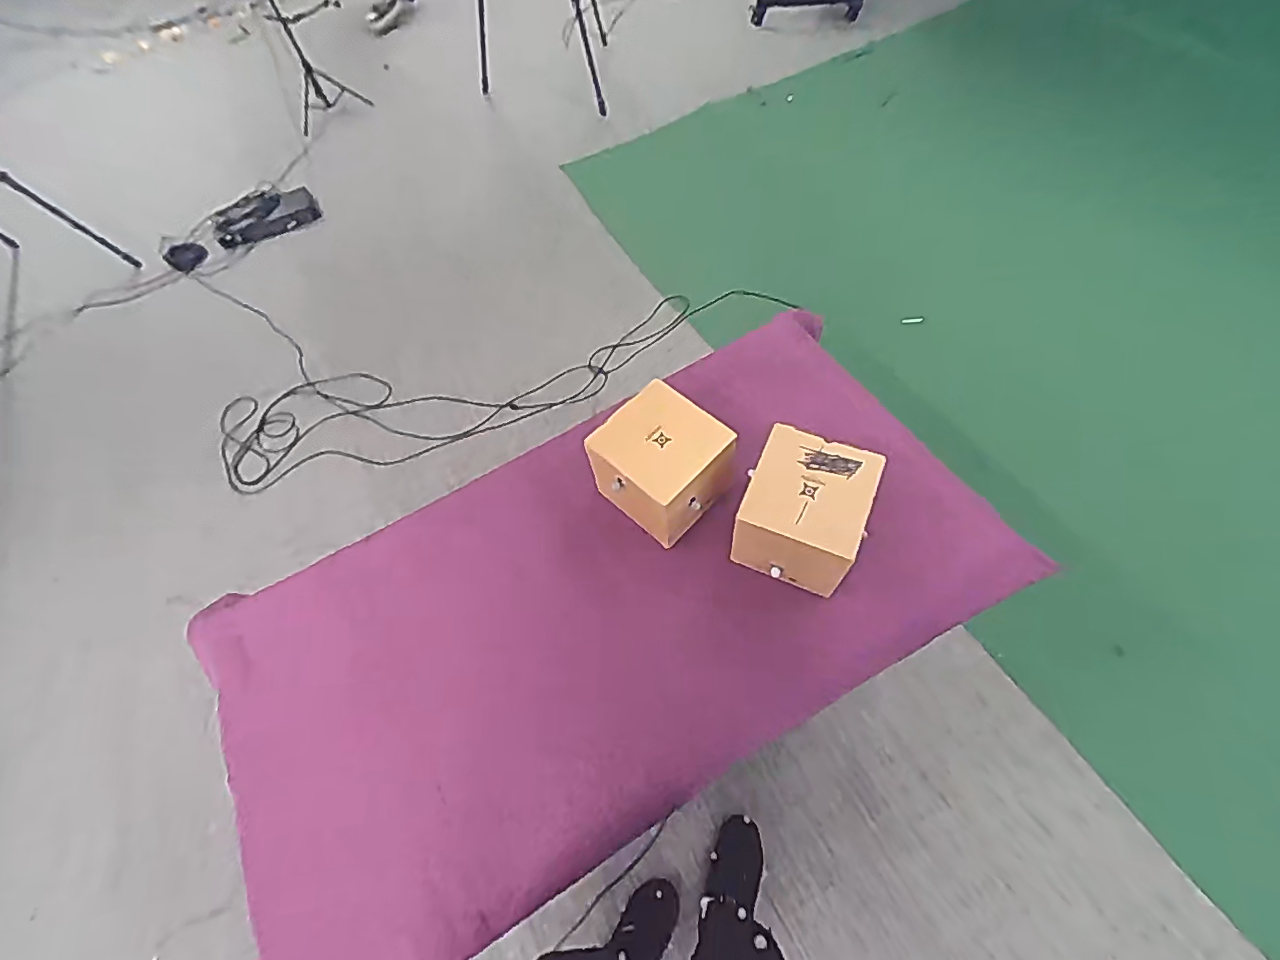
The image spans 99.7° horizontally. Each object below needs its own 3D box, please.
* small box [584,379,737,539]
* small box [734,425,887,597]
[{"bbox_3d":[0.038,-0.024,0.888,0.179,0.176,0.168,39,72,24],"label":"small box"},{"bbox_3d":[0.249,0.051,0.823,0.168,0.176,0.179,21,66,17],"label":"small box"}]
